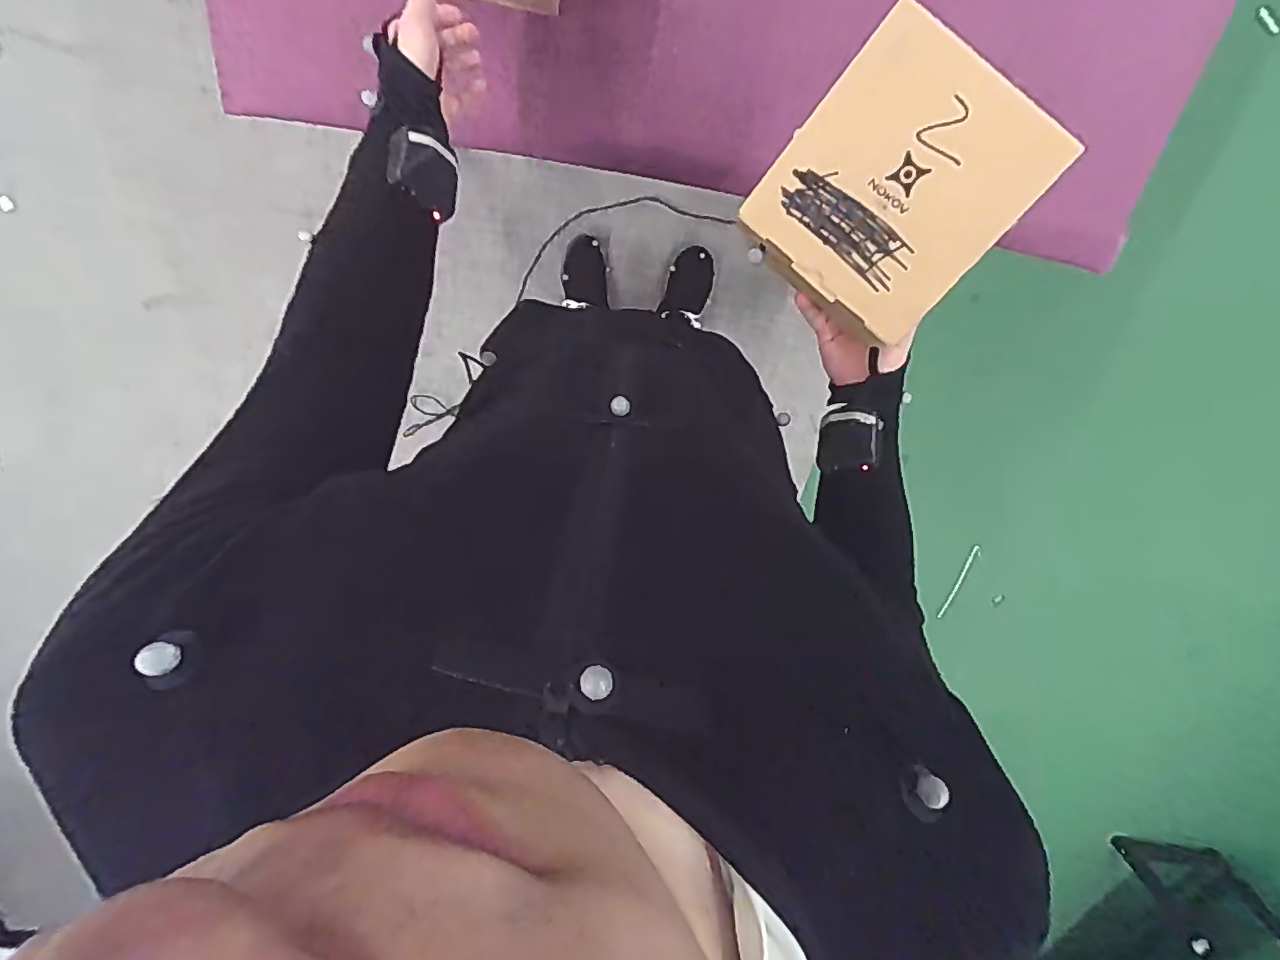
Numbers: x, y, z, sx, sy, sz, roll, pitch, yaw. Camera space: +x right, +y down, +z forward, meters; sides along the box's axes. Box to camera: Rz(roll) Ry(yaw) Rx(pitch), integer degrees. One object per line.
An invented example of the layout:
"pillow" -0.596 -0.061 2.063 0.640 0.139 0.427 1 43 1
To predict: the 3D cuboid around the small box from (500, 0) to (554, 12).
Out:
"small box" -0.165 -0.609 0.533 0.168 0.176 0.179 10 114 -6
